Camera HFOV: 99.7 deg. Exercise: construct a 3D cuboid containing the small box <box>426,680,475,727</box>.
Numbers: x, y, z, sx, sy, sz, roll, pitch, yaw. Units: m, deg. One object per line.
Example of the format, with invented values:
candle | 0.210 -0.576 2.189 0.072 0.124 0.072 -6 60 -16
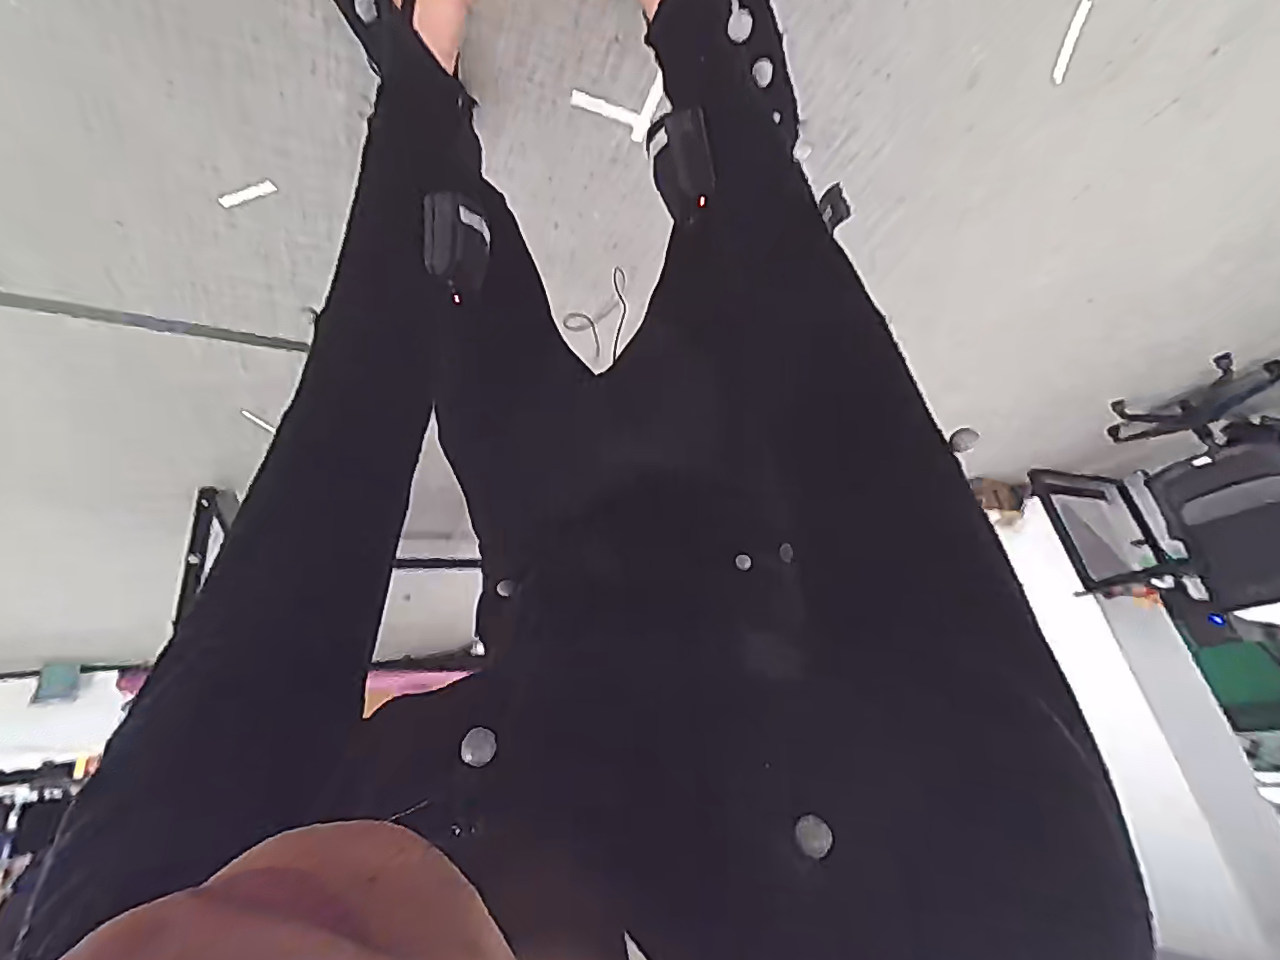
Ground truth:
small box | -0.839 0.981 2.383 0.168 0.176 0.179 8 150 -33
